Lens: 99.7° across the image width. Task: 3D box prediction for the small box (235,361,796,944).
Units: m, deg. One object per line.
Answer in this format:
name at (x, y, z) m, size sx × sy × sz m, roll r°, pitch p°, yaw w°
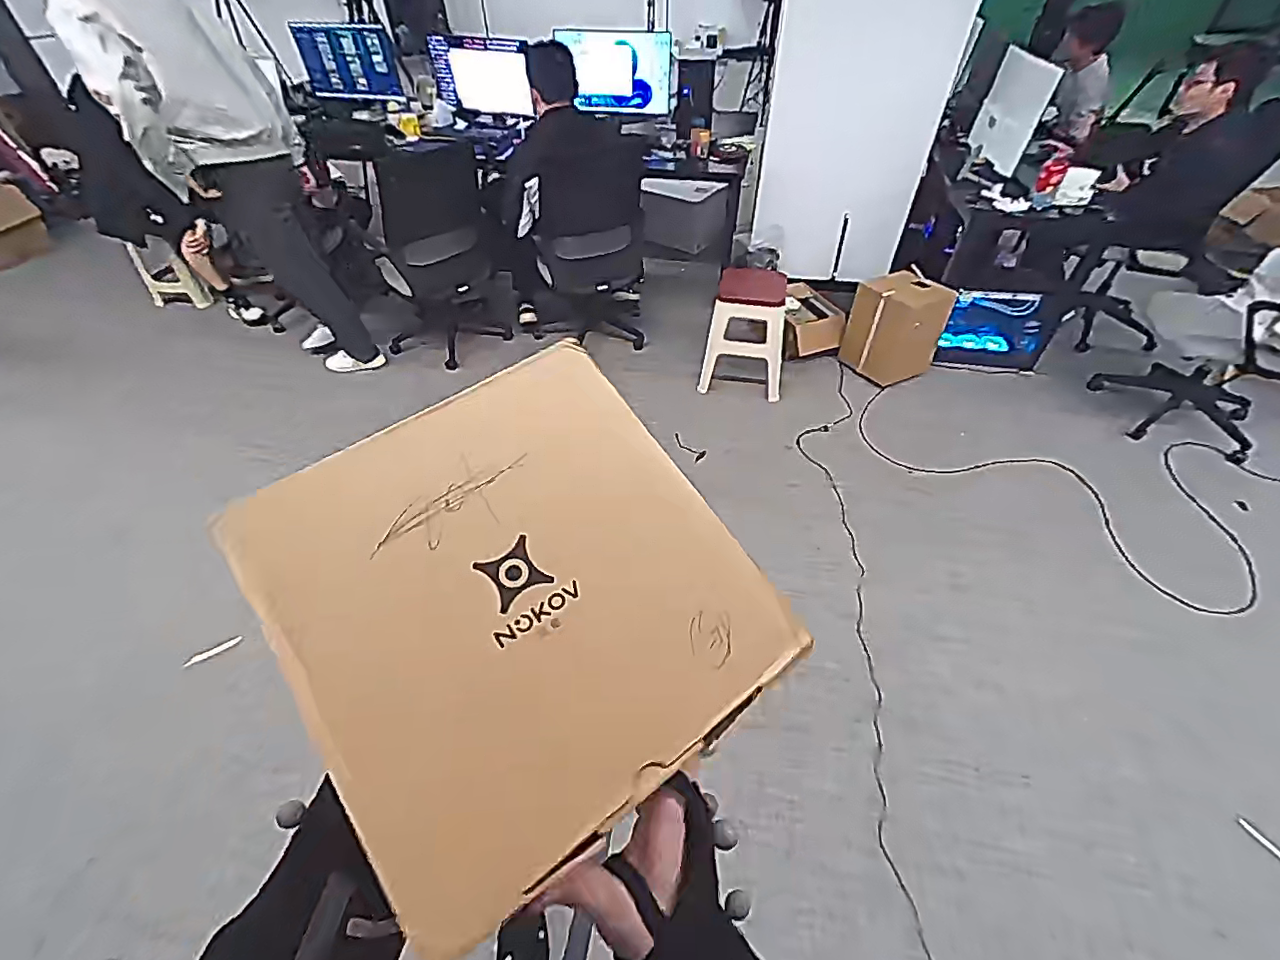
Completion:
small box at (-0.056, 0.078, 0.294) m, size 0.168 × 0.176 × 0.179 m, roll -35°, pitch 74°, yaw -20°
